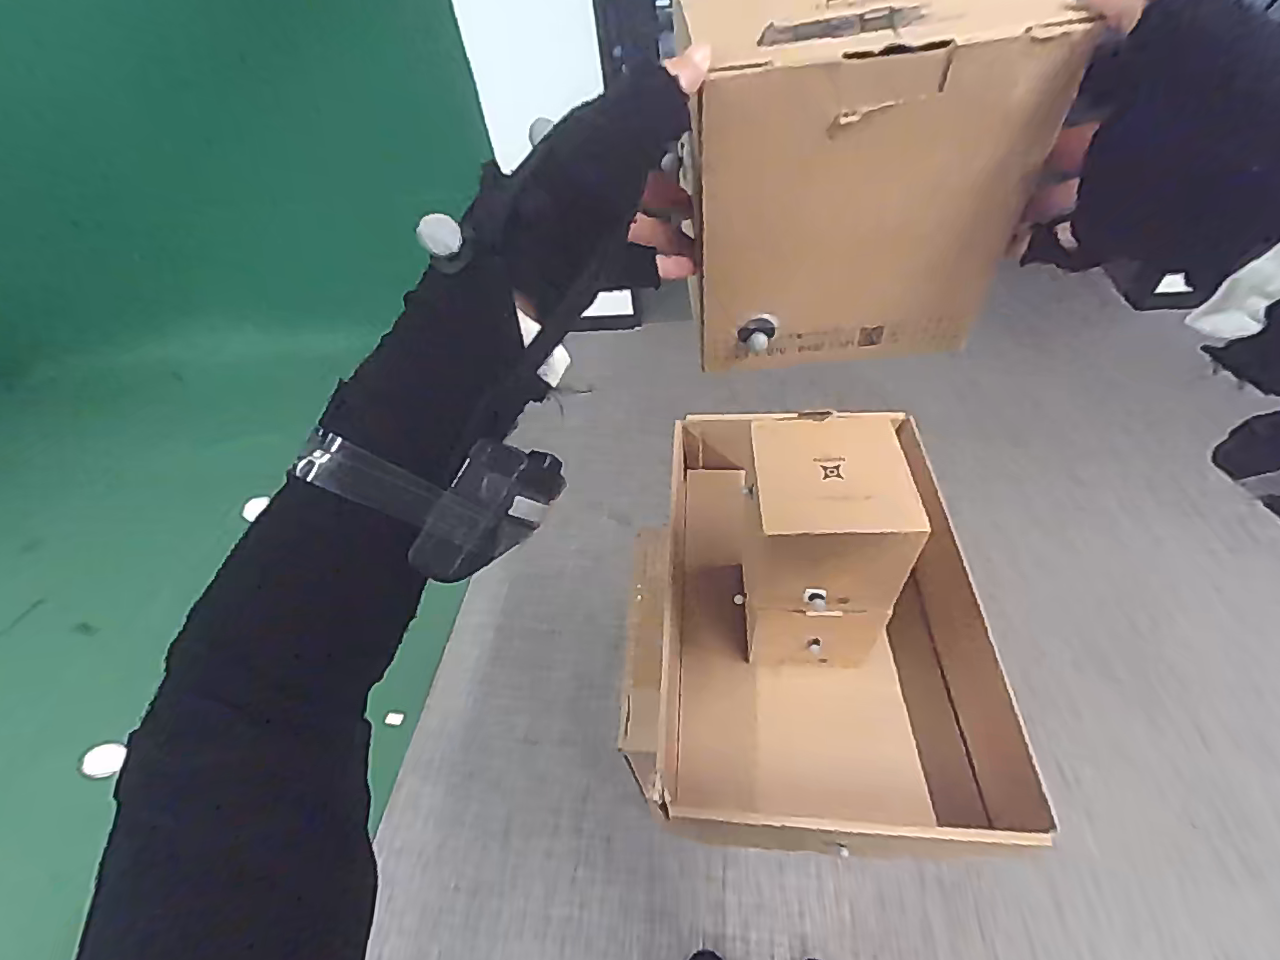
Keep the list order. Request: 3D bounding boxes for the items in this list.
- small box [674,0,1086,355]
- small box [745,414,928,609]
[{"bbox_3d":[0.111,-0.193,0.341,0.168,0.176,0.179,-4,51,3],"label":"small box"},{"bbox_3d":[0.221,0.040,0.664,0.168,0.176,0.179,-2,49,6],"label":"small box"}]
